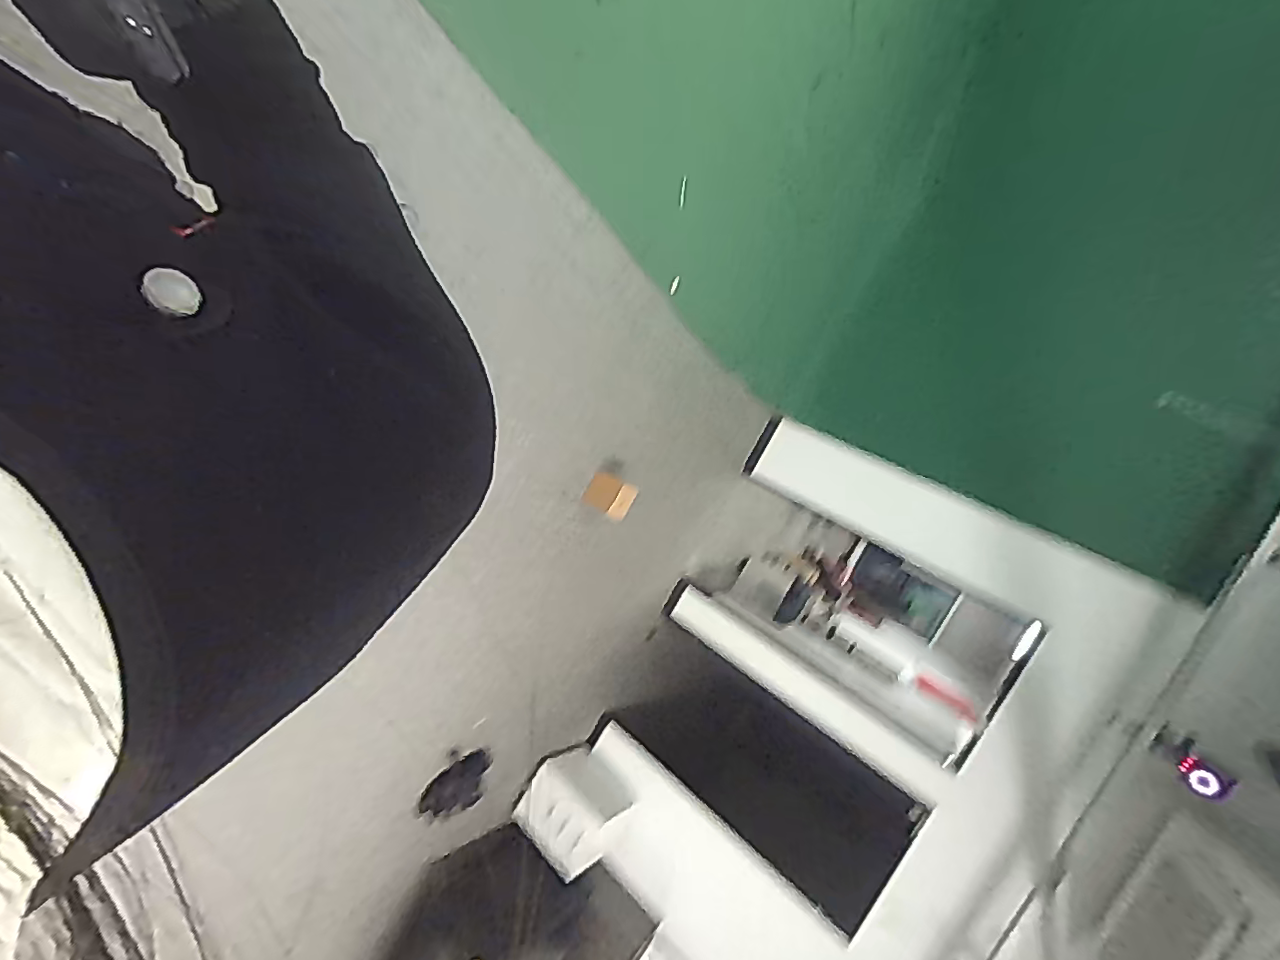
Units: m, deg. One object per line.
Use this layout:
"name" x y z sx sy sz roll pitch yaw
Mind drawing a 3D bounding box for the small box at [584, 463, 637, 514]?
"small box" -0.149 0.042 2.624 0.179 0.176 0.168 -62 152 3
